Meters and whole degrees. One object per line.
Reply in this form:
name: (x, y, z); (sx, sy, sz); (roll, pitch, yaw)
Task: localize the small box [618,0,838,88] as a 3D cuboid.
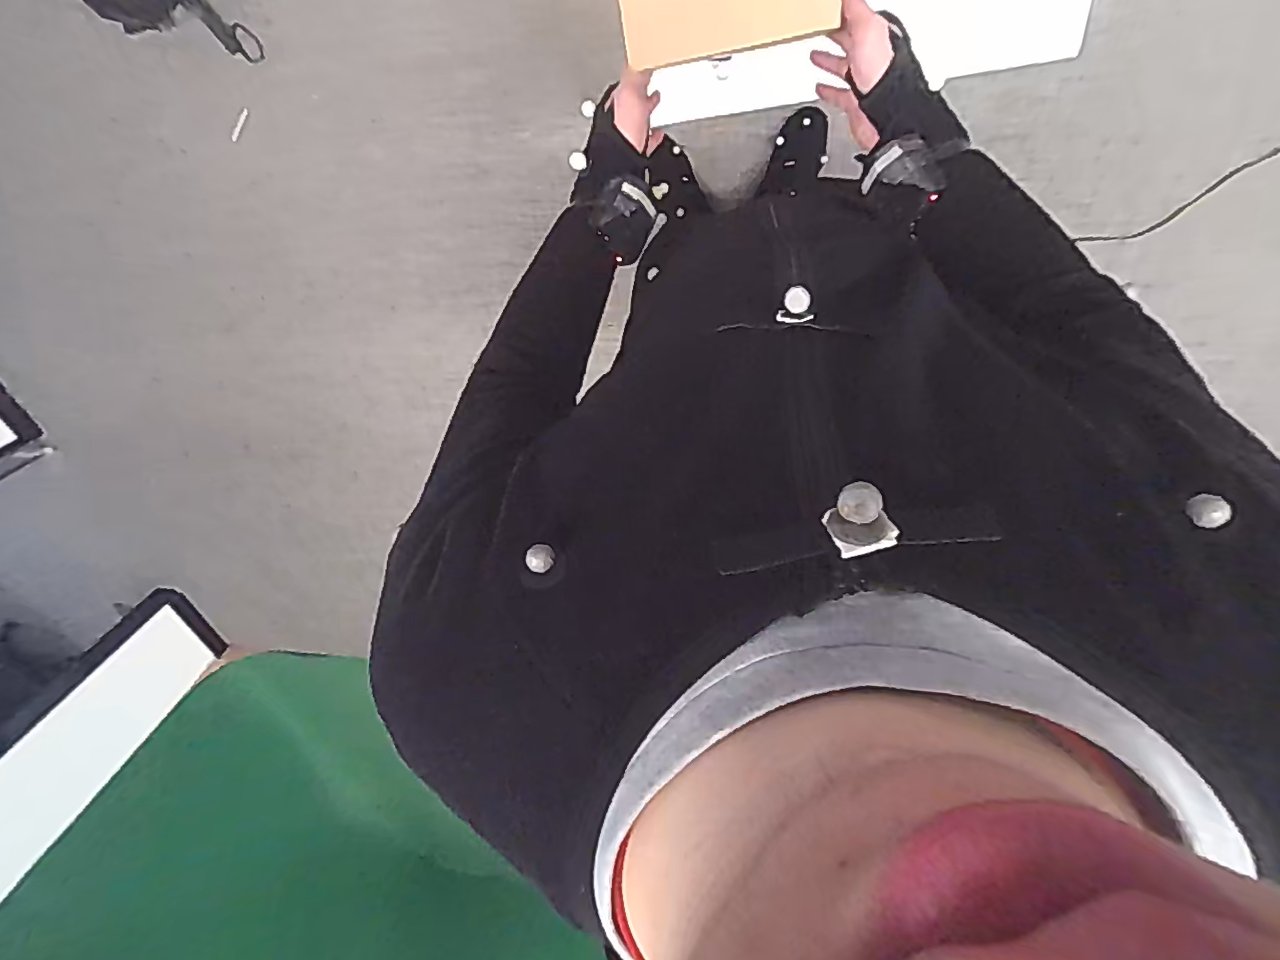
small box: (0.071, -0.442, 0.445); (0.168, 0.176, 0.179); (-1, 125, 14)
